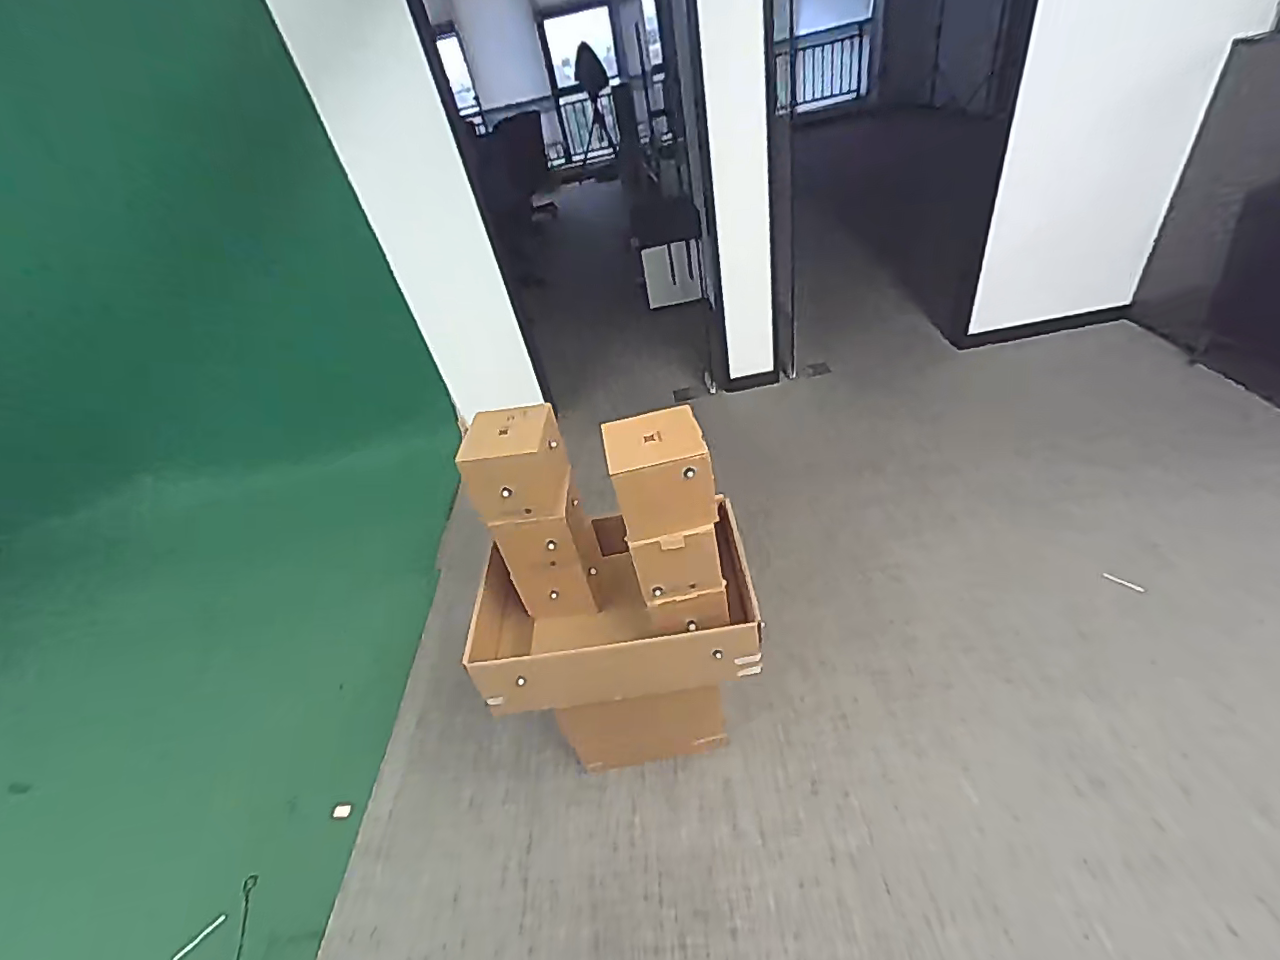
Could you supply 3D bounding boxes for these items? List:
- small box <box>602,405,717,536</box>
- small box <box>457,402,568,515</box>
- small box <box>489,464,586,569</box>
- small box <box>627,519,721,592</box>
[{"bbox_3d":[0.037,-0.015,1.021,0.179,0.176,0.168,-13,39,-1],"label":"small box"},{"bbox_3d":[-0.255,-0.039,1.132,0.168,0.176,0.179,-6,40,6],"label":"small box"},{"bbox_3d":[-0.222,0.088,1.232,0.168,0.176,0.179,-7,39,5],"label":"small box"},{"bbox_3d":[0.067,0.113,1.116,0.168,0.176,0.179,-11,39,2],"label":"small box"}]
